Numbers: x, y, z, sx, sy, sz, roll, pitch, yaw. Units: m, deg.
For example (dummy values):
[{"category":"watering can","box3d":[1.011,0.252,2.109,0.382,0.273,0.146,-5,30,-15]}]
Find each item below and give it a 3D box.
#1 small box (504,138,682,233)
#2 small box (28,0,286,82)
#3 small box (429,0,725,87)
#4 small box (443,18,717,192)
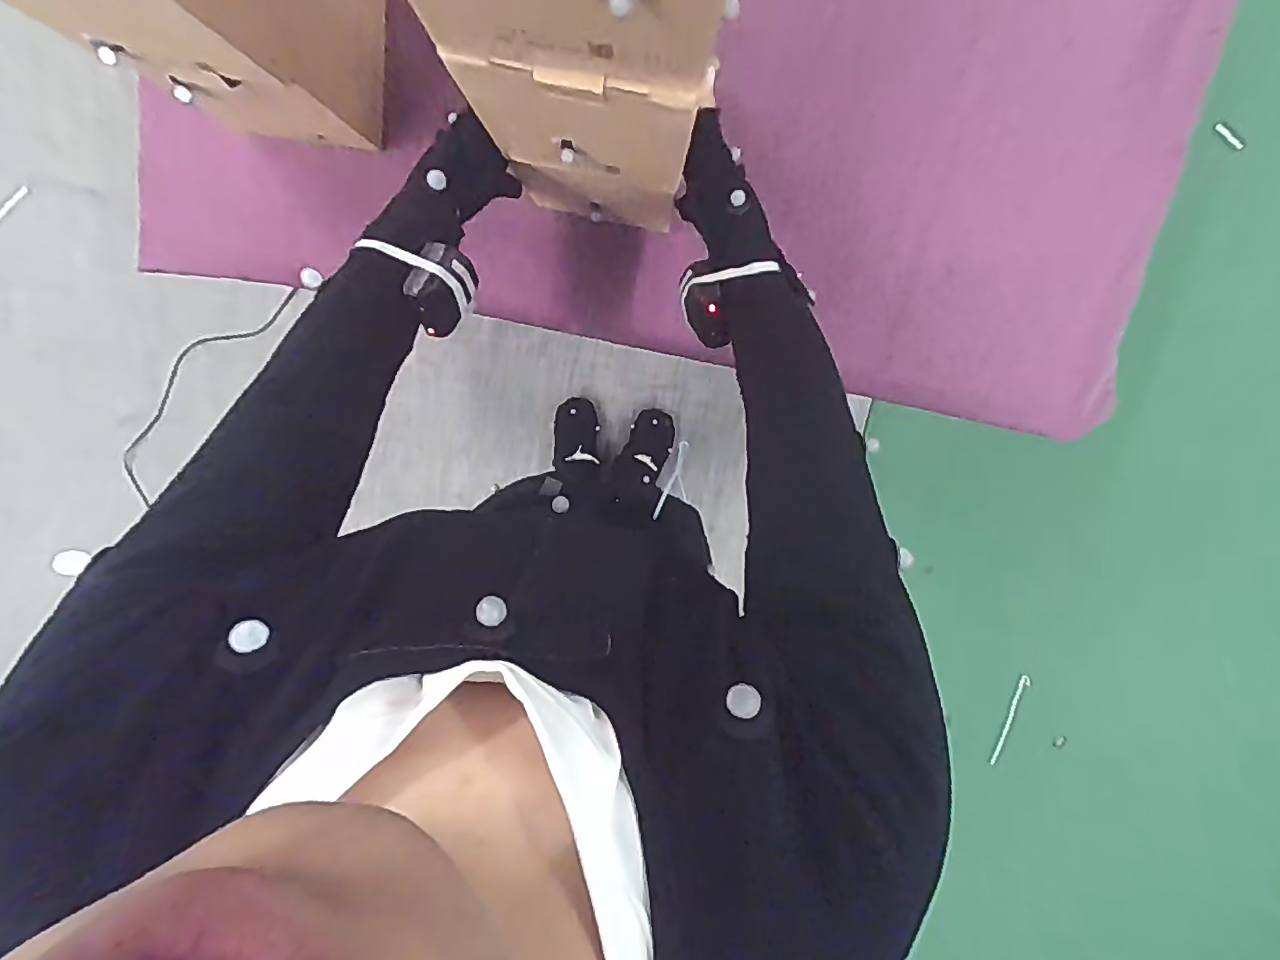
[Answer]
[{"category":"small box","box3d":[-0.027,-0.378,0.556,0.168,0.176,0.179,12,103,-2]},{"category":"small box","box3d":[-0.372,-0.420,0.372,0.168,0.176,0.179,11,103,-5]},{"category":"small box","box3d":[-0.026,-0.314,0.234,0.168,0.176,0.179,9,102,-4]},{"category":"small box","box3d":[-0.027,-0.343,0.396,0.168,0.176,0.179,10,103,-3]}]
